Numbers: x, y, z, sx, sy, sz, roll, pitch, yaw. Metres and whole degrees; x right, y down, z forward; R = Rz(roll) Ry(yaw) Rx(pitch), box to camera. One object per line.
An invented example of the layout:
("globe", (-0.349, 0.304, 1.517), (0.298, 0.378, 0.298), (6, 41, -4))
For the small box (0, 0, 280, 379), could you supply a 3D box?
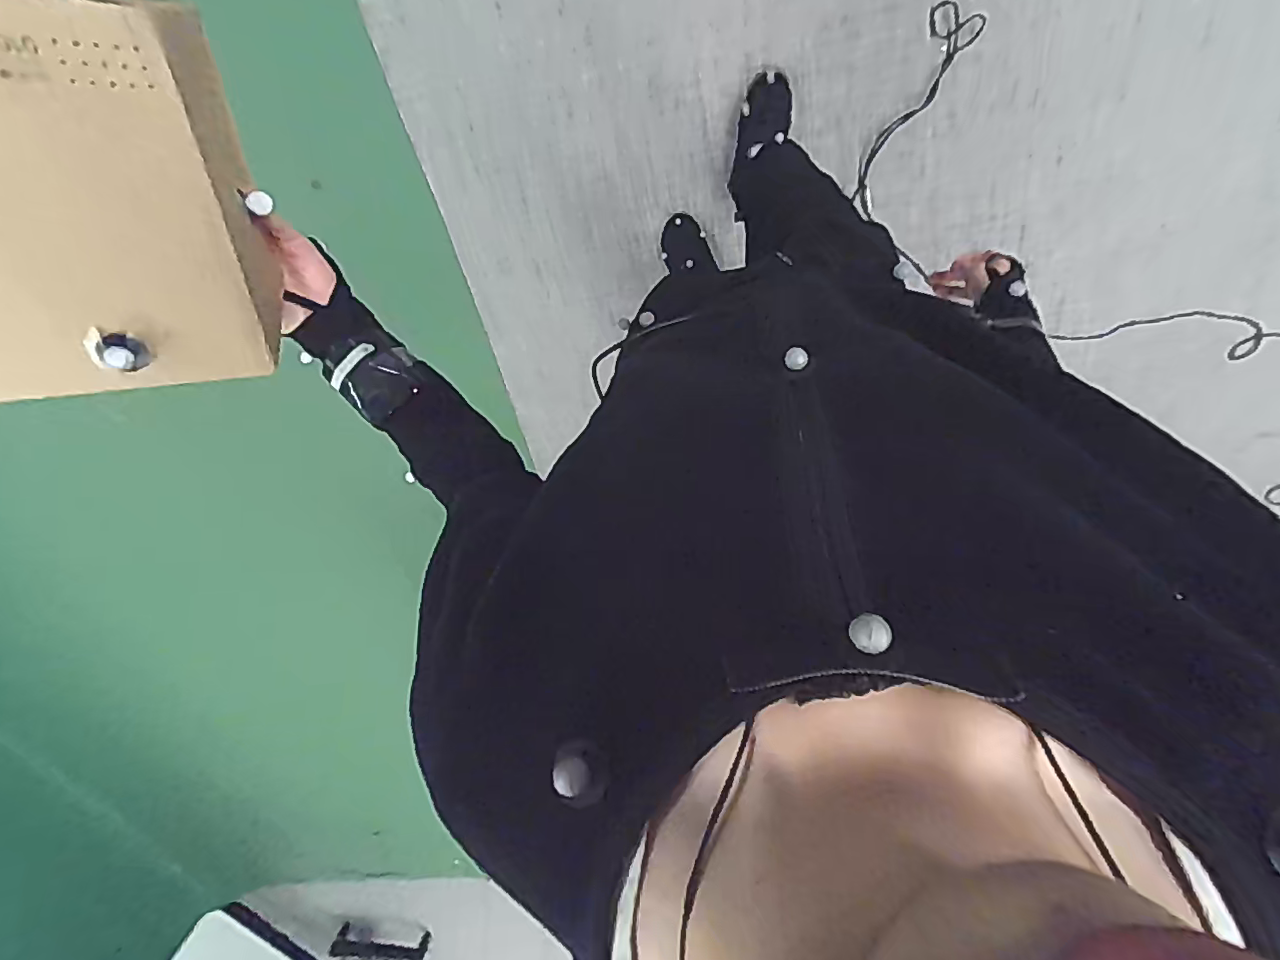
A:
("small box", (-0.308, -0.172, 0.285), (0.168, 0.179, 0.176), (-12, 134, -23))
